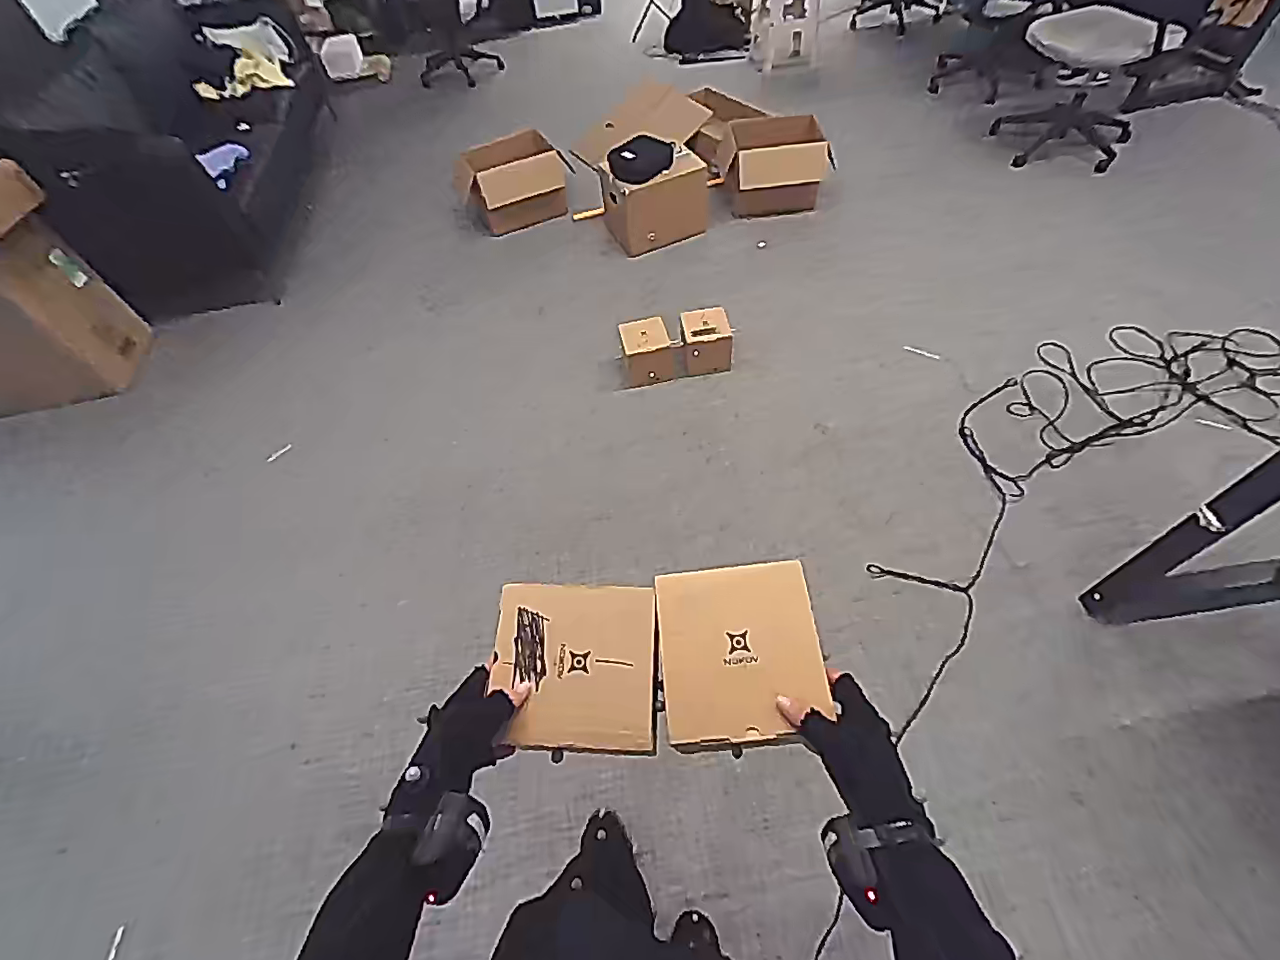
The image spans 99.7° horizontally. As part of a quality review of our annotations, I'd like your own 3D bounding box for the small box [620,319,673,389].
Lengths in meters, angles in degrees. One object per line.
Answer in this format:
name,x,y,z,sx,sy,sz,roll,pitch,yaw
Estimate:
small box,0.026,-0.470,2.025,0.168,0.176,0.179,-13,54,-2
